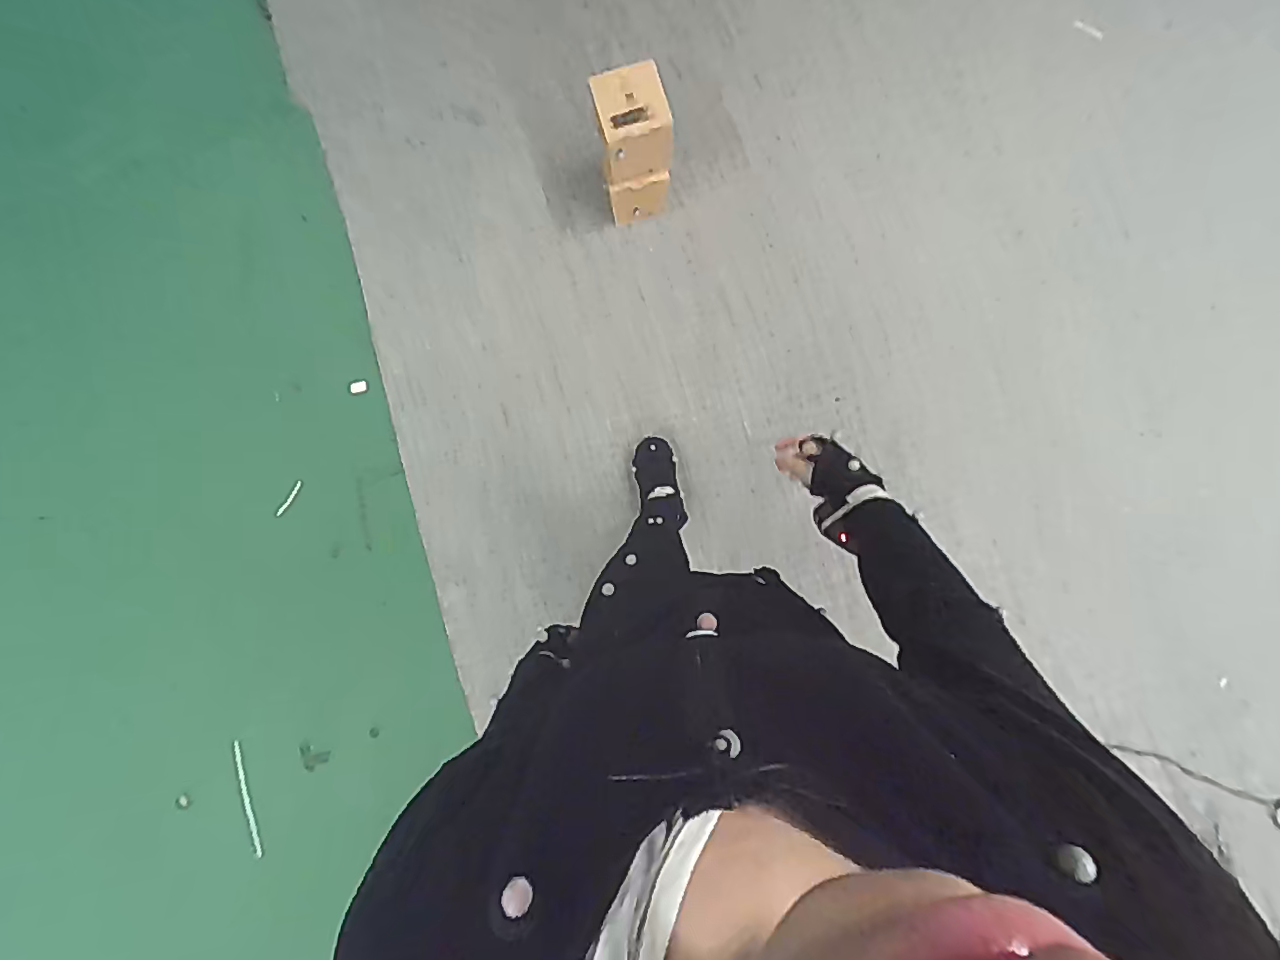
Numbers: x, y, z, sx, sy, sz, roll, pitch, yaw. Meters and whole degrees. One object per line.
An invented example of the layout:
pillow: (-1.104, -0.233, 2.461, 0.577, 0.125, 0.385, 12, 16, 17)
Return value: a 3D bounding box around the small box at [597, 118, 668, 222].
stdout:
small box: (-0.022, -0.865, 1.520, 0.168, 0.176, 0.179, -12, 85, 0)
